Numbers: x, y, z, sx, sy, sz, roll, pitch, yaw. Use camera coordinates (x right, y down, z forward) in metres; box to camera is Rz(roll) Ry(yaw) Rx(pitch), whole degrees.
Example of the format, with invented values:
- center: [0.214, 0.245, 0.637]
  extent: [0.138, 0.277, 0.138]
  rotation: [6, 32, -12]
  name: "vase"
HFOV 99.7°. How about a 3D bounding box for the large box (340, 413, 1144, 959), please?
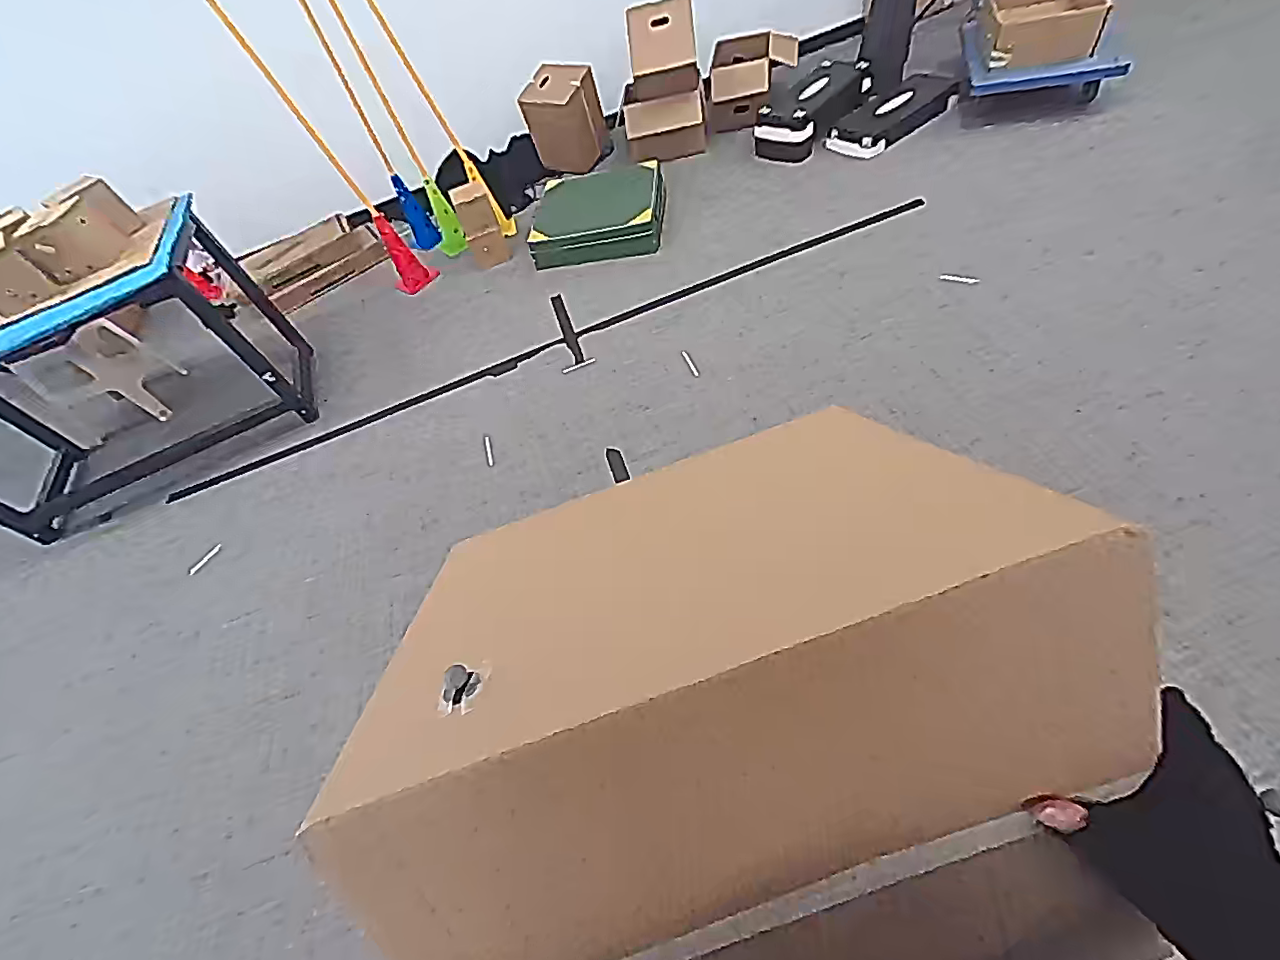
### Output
- center: [0.072, 0.176, 0.445]
  extent: [0.408, 0.320, 0.320]
  rotation: [-20, 19, 1]
  name: "large box"
